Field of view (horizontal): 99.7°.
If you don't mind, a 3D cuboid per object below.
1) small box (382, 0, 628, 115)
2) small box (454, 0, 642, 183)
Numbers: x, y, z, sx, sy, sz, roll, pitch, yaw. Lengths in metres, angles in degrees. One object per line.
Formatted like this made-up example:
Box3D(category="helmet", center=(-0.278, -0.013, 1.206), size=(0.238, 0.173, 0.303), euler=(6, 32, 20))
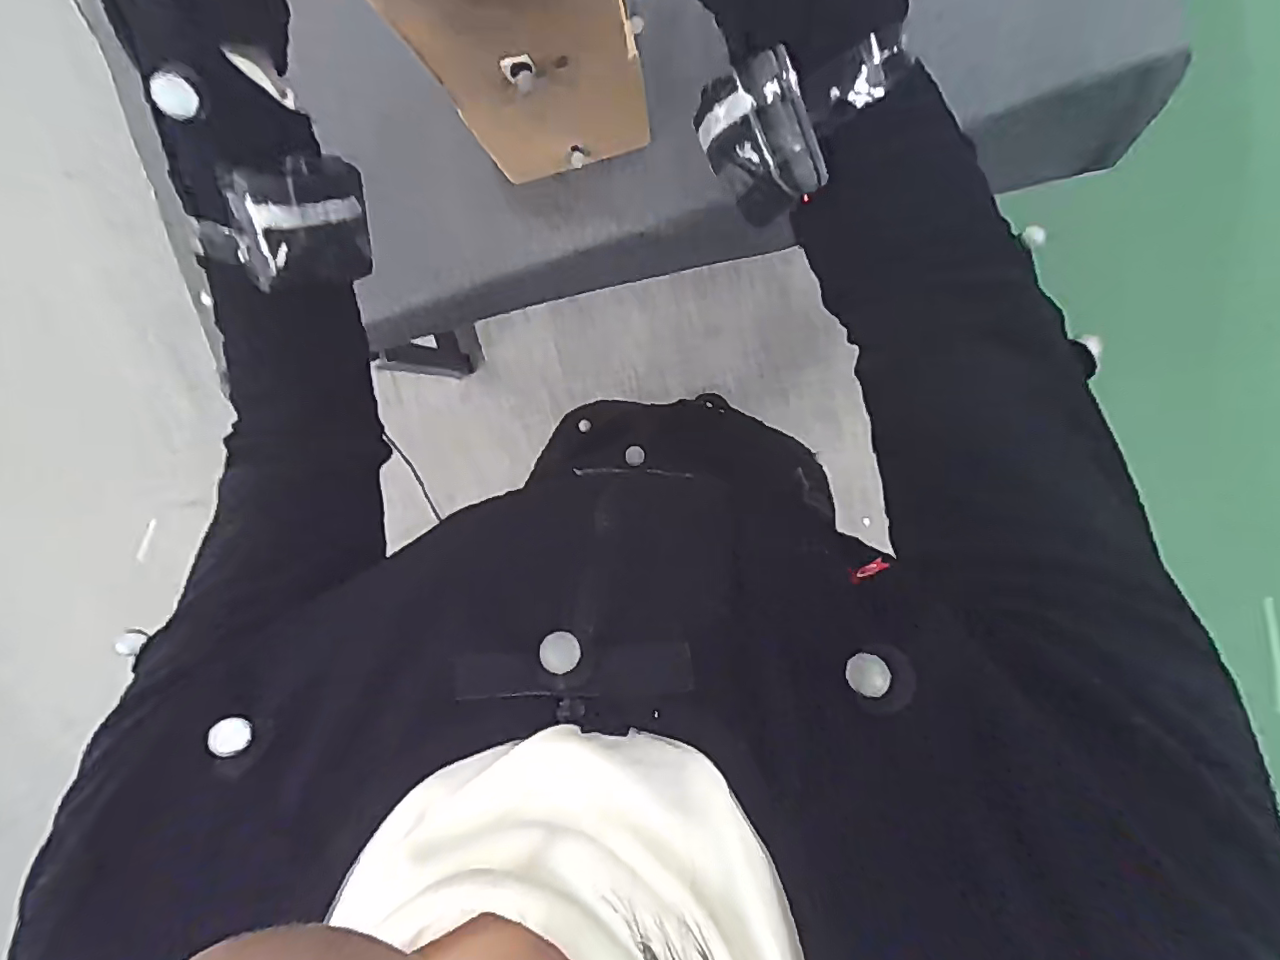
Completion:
Box3D(category="small box", center=(-0.117, -0.431, 0.411), size=(0.168, 0.176, 0.179), euler=(-15, 96, 9))
Box3D(category="small box", center=(-0.098, -0.450, 0.571), size=(0.179, 0.176, 0.168), euler=(-13, 95, 6))
